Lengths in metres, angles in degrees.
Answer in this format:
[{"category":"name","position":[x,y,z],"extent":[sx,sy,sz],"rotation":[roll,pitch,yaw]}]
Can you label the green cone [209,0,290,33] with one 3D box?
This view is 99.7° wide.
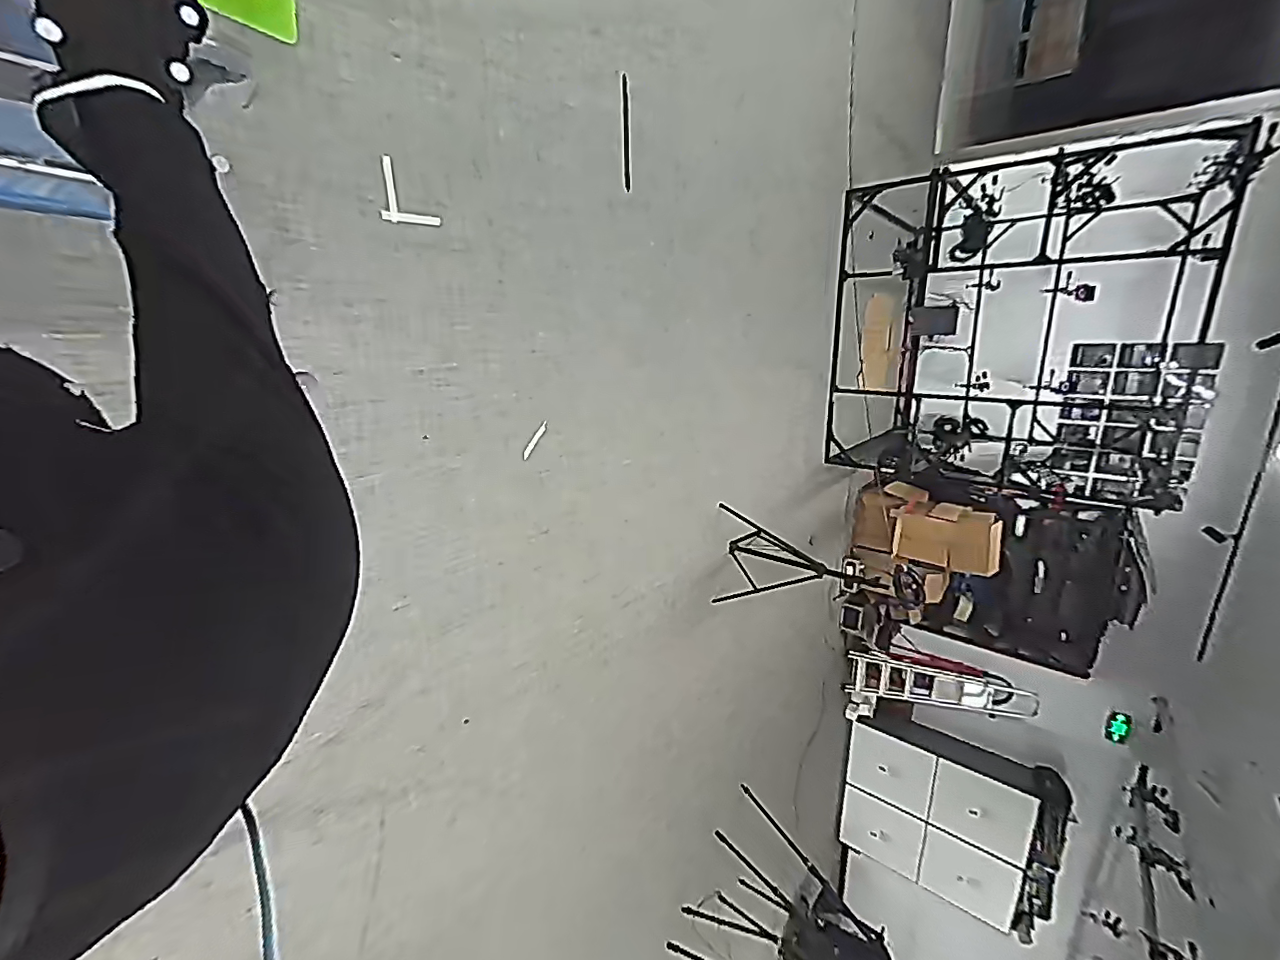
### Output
[{"category":"green cone","position":[-0.709,-1.056,1.023],"extent":[0.202,0.368,0.200],"rotation":[-13,110,-52]}]
